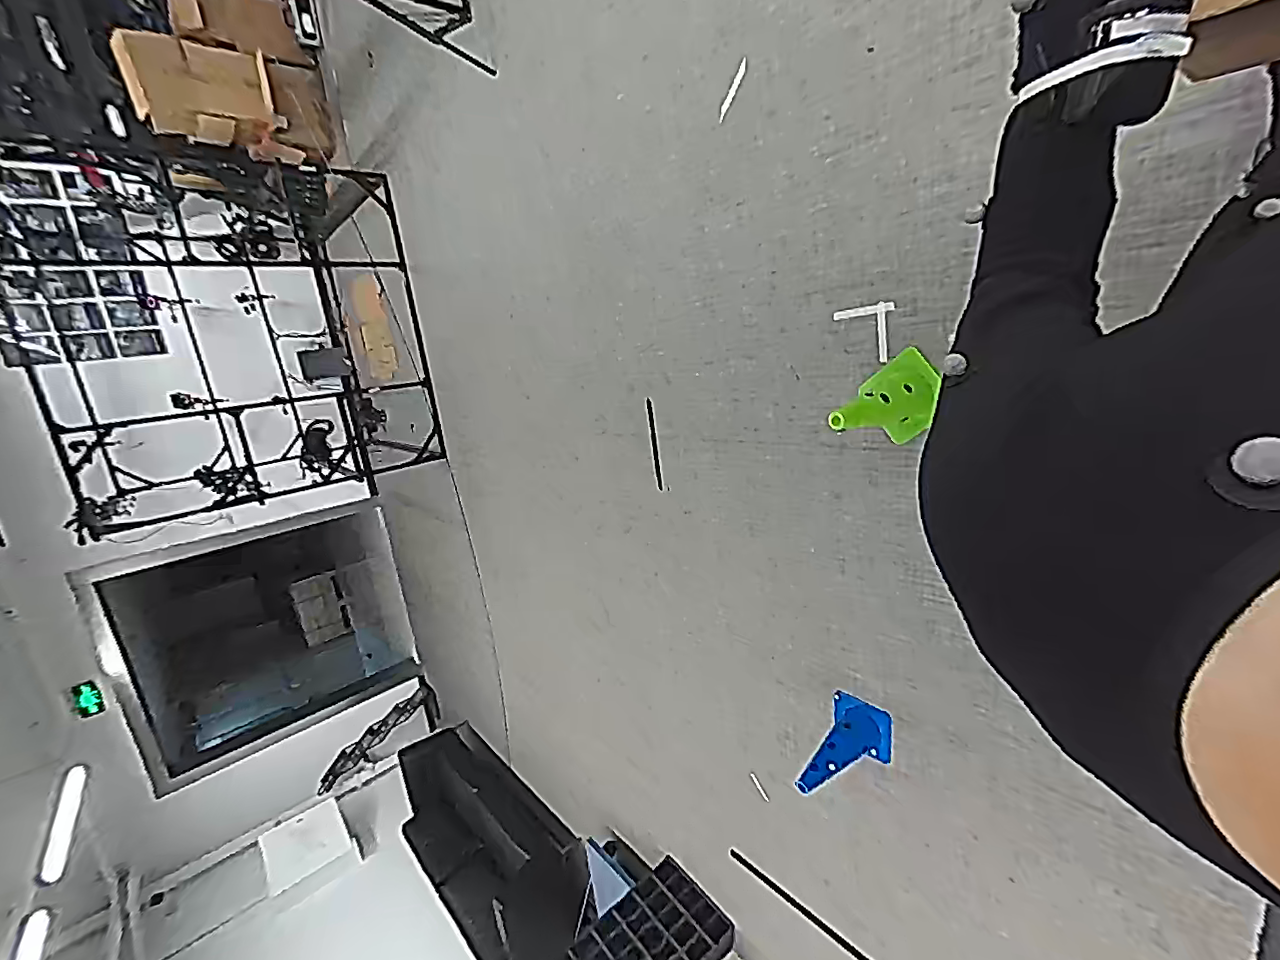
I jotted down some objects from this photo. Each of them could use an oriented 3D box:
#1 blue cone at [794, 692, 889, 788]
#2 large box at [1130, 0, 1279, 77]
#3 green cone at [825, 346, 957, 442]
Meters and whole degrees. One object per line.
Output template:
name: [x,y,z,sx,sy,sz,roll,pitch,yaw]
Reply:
blue cone: [0.631,0.875,1.745,0.192,0.380,0.193,15,115,49]
large box: [0.539,-0.464,0.257,0.408,0.320,0.320,12,120,47]
green cone: [0.581,-0.184,1.348,0.200,0.368,0.202,60,142,16]
